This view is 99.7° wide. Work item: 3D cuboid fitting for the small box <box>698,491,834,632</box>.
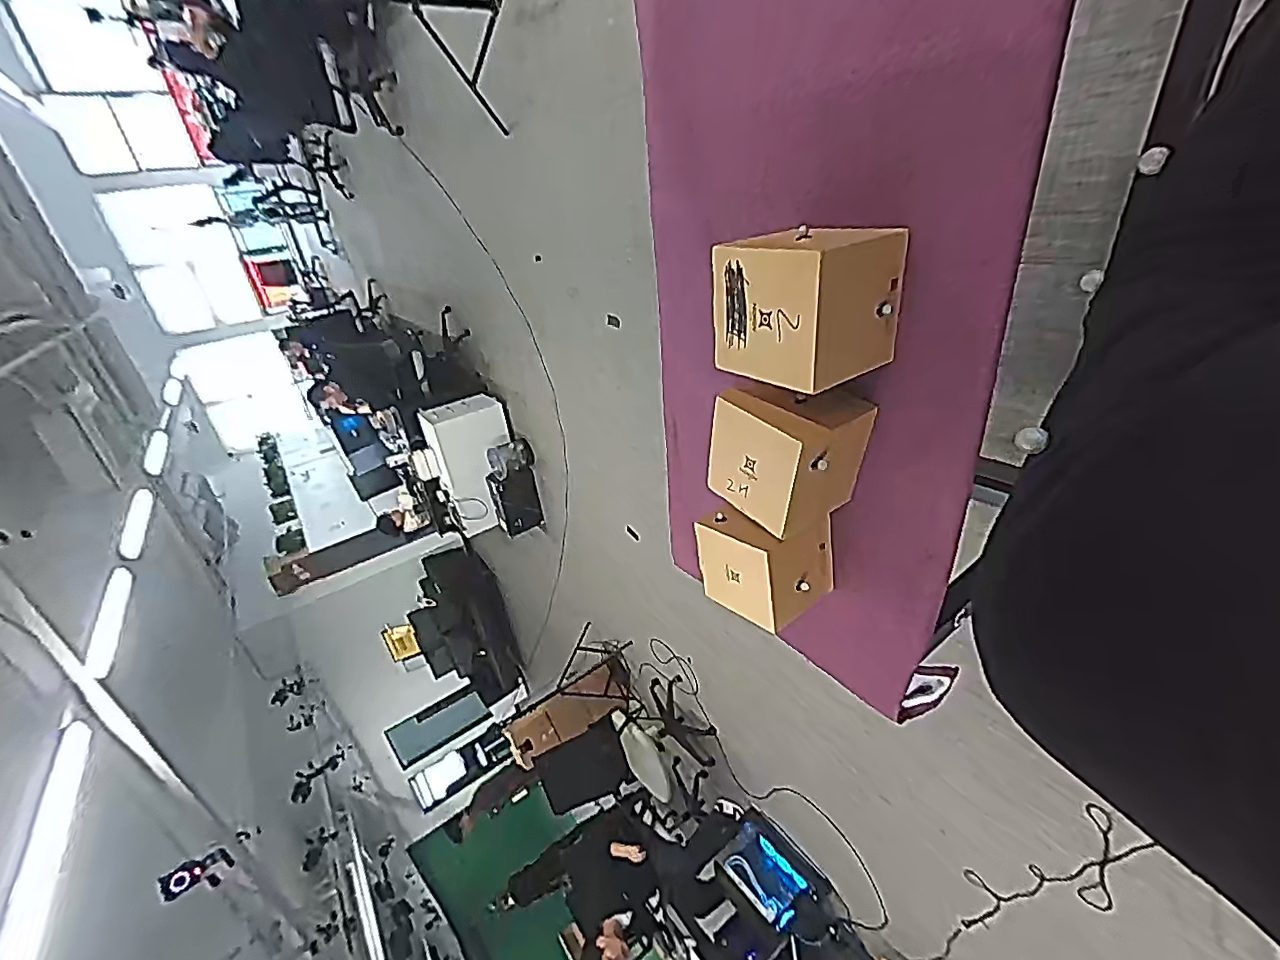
[{"bbox_3d":[0.233,0.134,0.974,0.179,0.176,0.168,20,128,53],"label":"small box"}]
